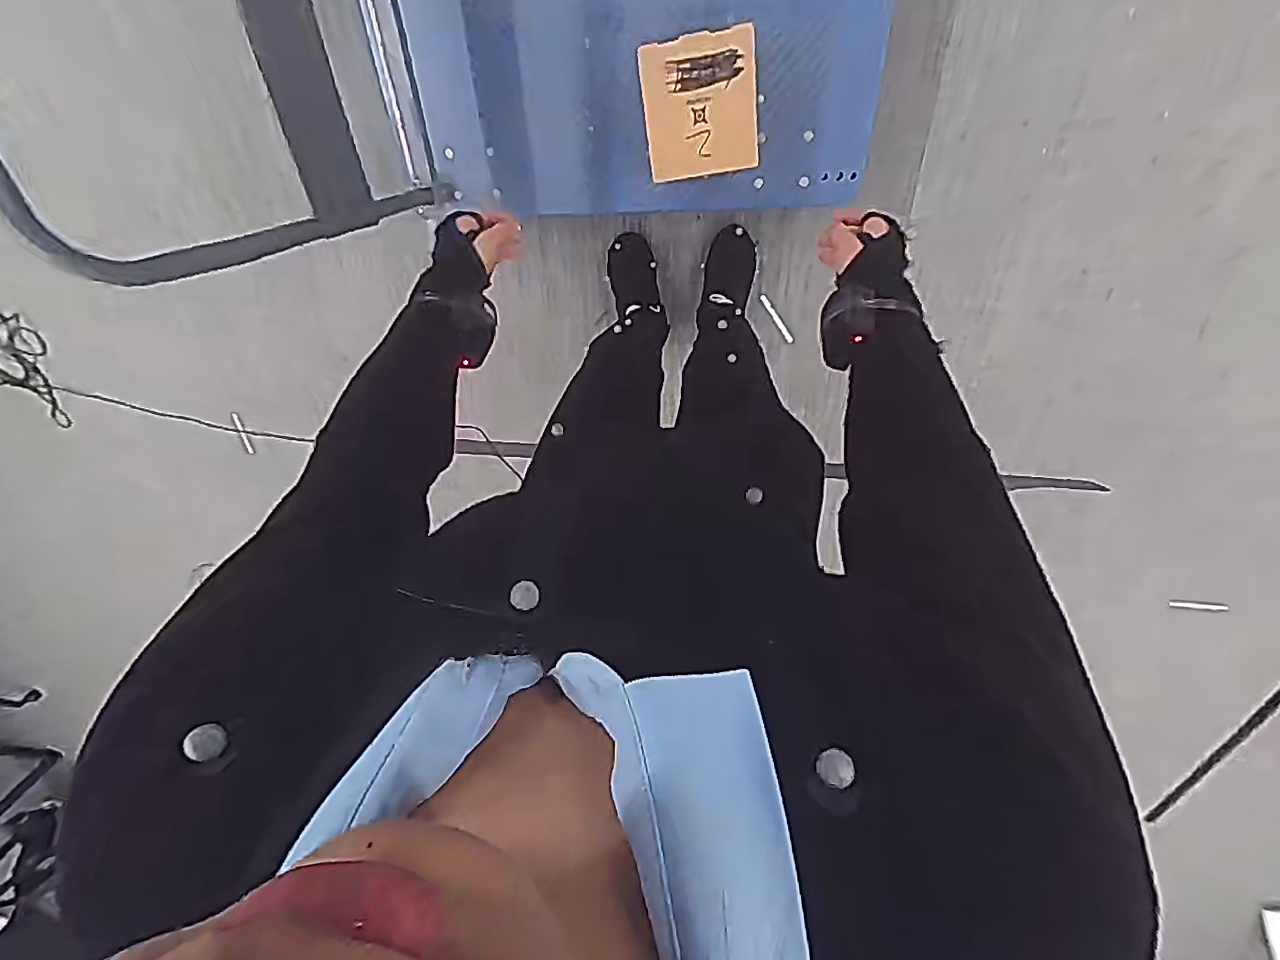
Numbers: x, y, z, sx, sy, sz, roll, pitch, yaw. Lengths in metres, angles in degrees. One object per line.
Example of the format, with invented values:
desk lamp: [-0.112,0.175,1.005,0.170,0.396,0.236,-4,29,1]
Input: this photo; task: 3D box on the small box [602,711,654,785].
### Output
small box: [-0.039,0.963,1.945,0.168,0.176,0.179,4,124,6]

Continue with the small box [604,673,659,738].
small box: [-0.027,0.867,2.077,0.168,0.176,0.179,-7,122,12]
